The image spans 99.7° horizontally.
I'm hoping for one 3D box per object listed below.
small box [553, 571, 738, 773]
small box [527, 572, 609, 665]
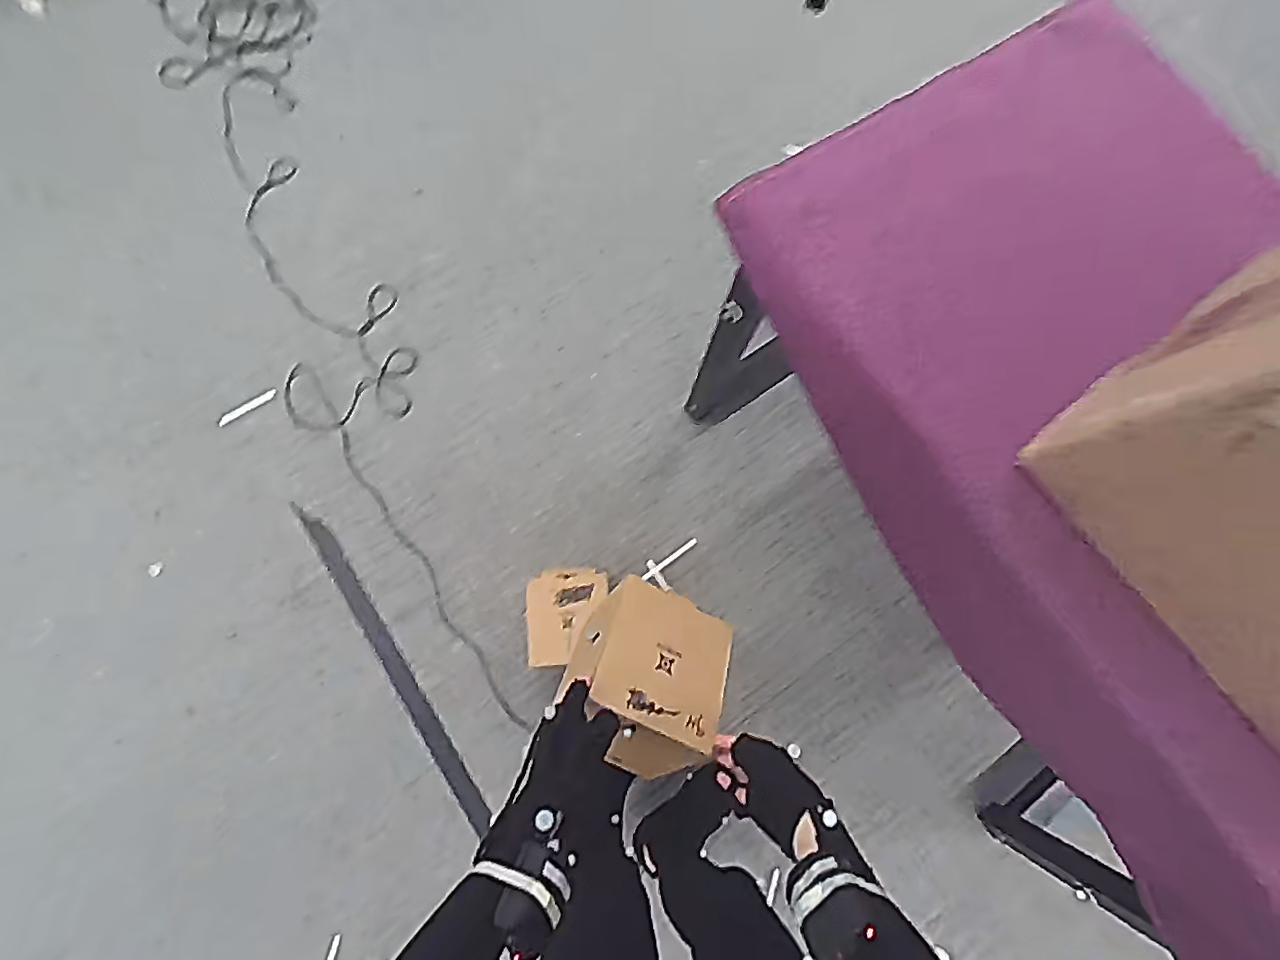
[{"bbox_3d":[0.005,0.257,0.712,0.168,0.176,0.179,29,48,-8],"label":"small box"},{"bbox_3d":[-0.149,0.293,1.160,0.168,0.176,0.179,-3,79,-3],"label":"small box"}]
